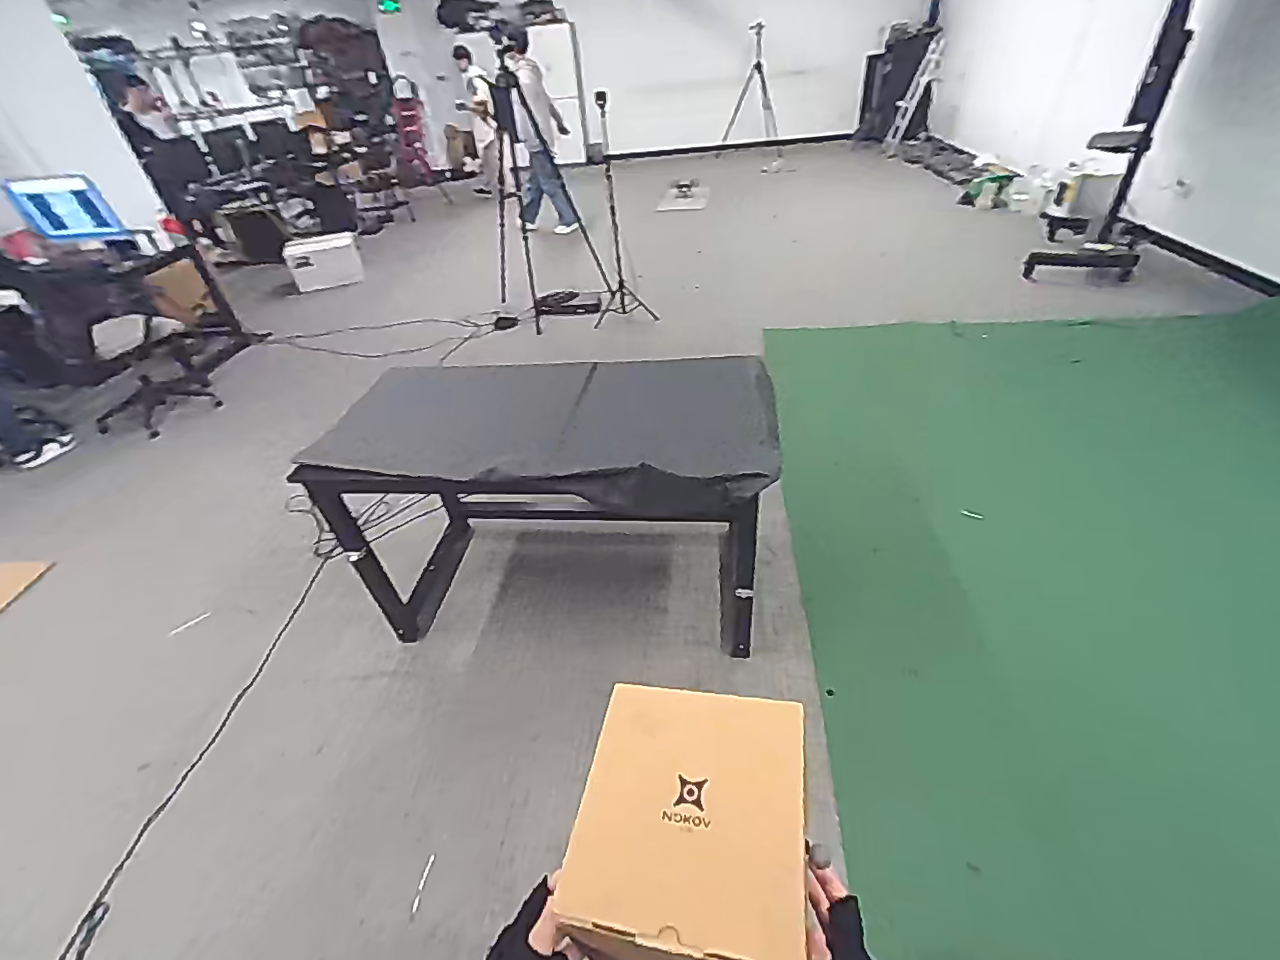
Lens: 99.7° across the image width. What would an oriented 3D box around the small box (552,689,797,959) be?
[{"bbox_3d":[0.047,0.311,0.462,0.168,0.176,0.179,0,39,16],"label":"small box"}]
